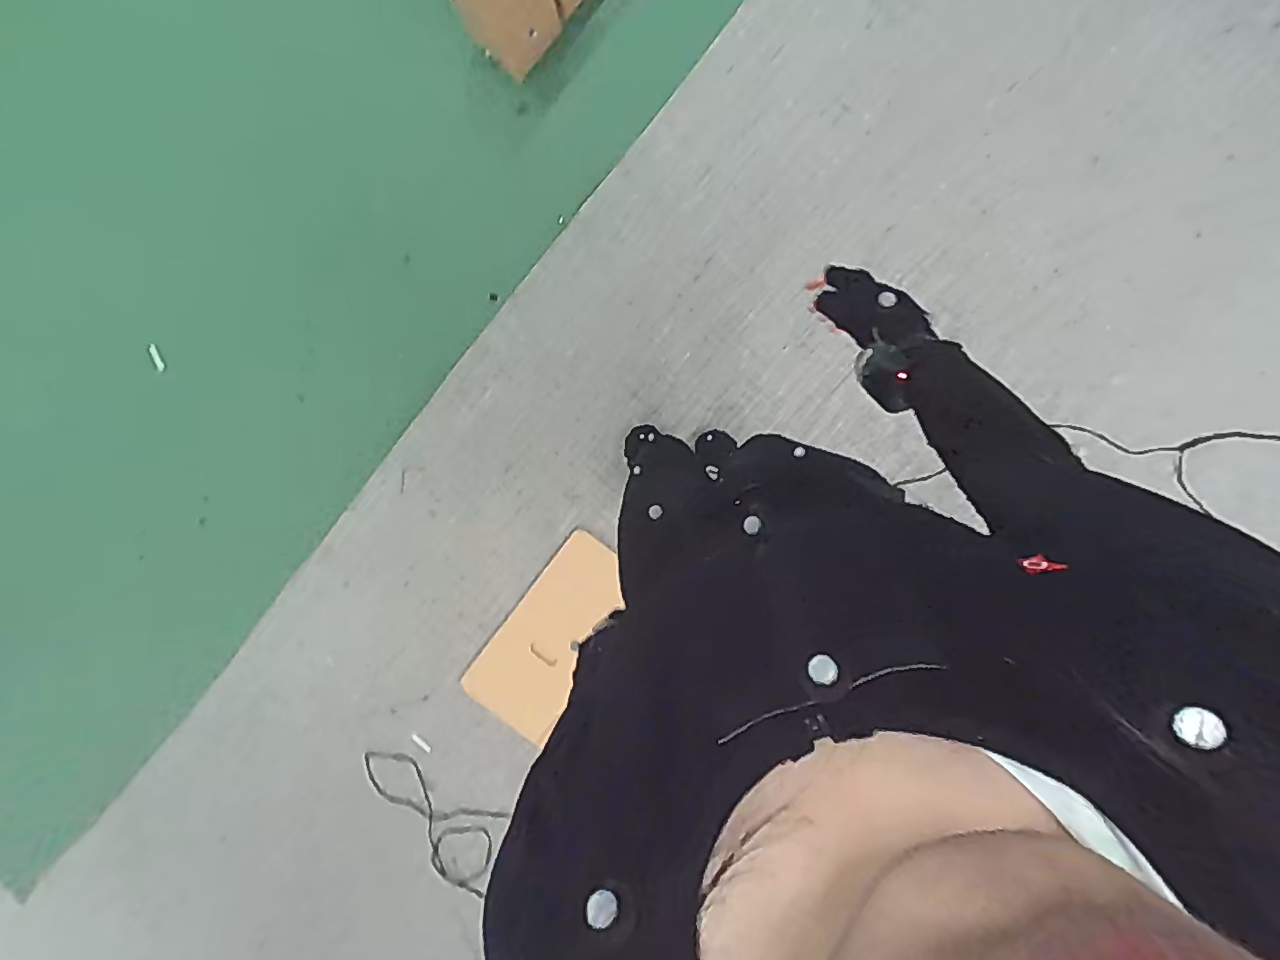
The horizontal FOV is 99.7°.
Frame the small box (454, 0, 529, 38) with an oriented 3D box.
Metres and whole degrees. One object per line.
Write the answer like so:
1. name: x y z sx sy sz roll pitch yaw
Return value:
1. small box: -0.337 -1.112 1.151 0.168 0.176 0.179 43 98 -2
